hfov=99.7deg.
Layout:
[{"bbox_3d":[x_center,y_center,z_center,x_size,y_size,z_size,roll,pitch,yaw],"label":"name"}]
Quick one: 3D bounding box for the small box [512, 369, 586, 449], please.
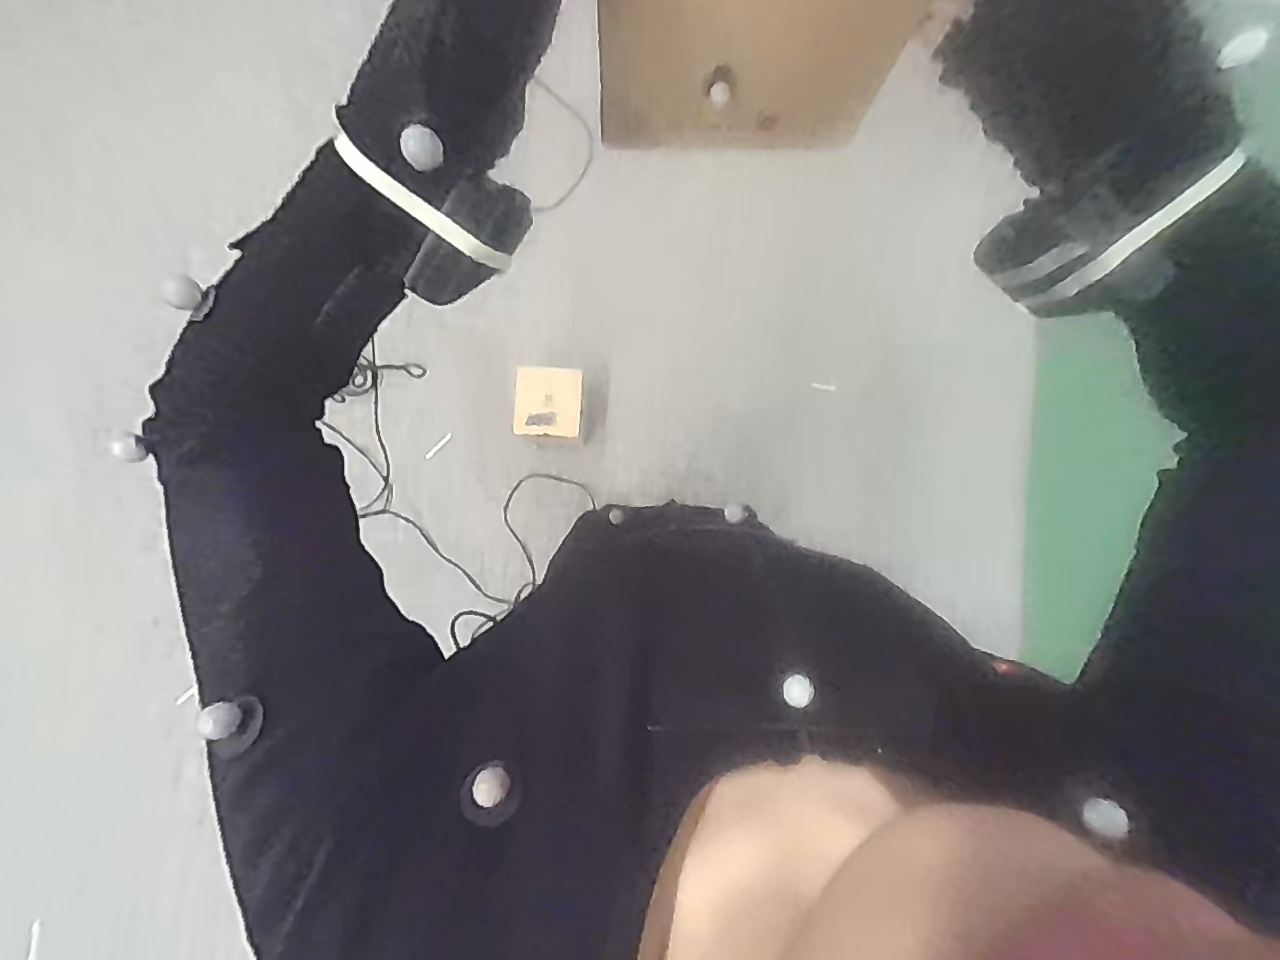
[{"bbox_3d":[-0.233,-0.180,1.421,0.168,0.176,0.179,3,85,-2],"label":"small box"}]
